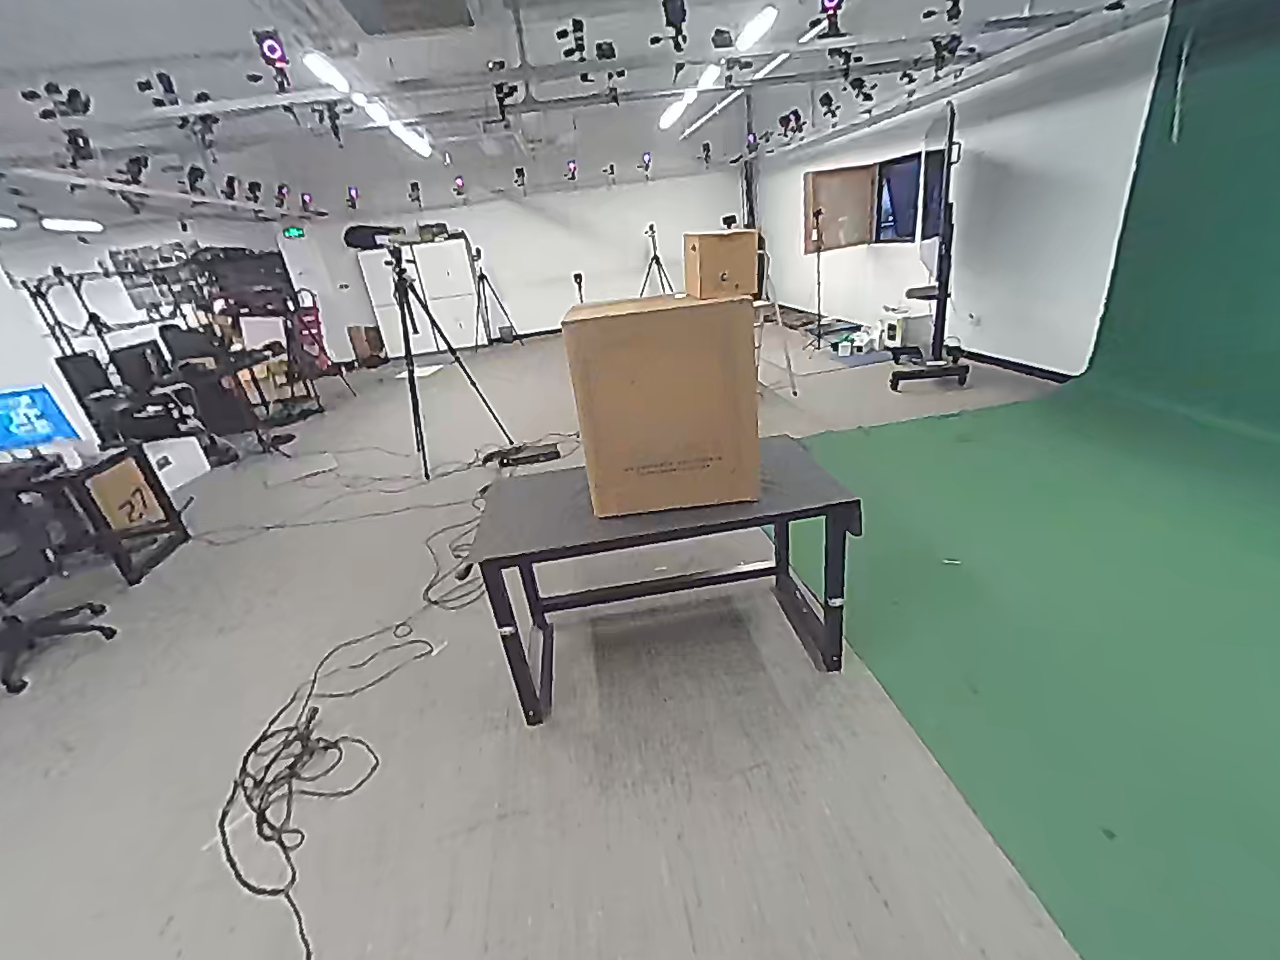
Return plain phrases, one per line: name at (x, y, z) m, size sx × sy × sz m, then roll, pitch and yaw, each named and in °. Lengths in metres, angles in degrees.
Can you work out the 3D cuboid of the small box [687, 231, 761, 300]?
small box at (0.233, -0.613, 1.541) m, size 0.168 × 0.176 × 0.179 m, roll -8°, pitch 27°, yaw -7°
